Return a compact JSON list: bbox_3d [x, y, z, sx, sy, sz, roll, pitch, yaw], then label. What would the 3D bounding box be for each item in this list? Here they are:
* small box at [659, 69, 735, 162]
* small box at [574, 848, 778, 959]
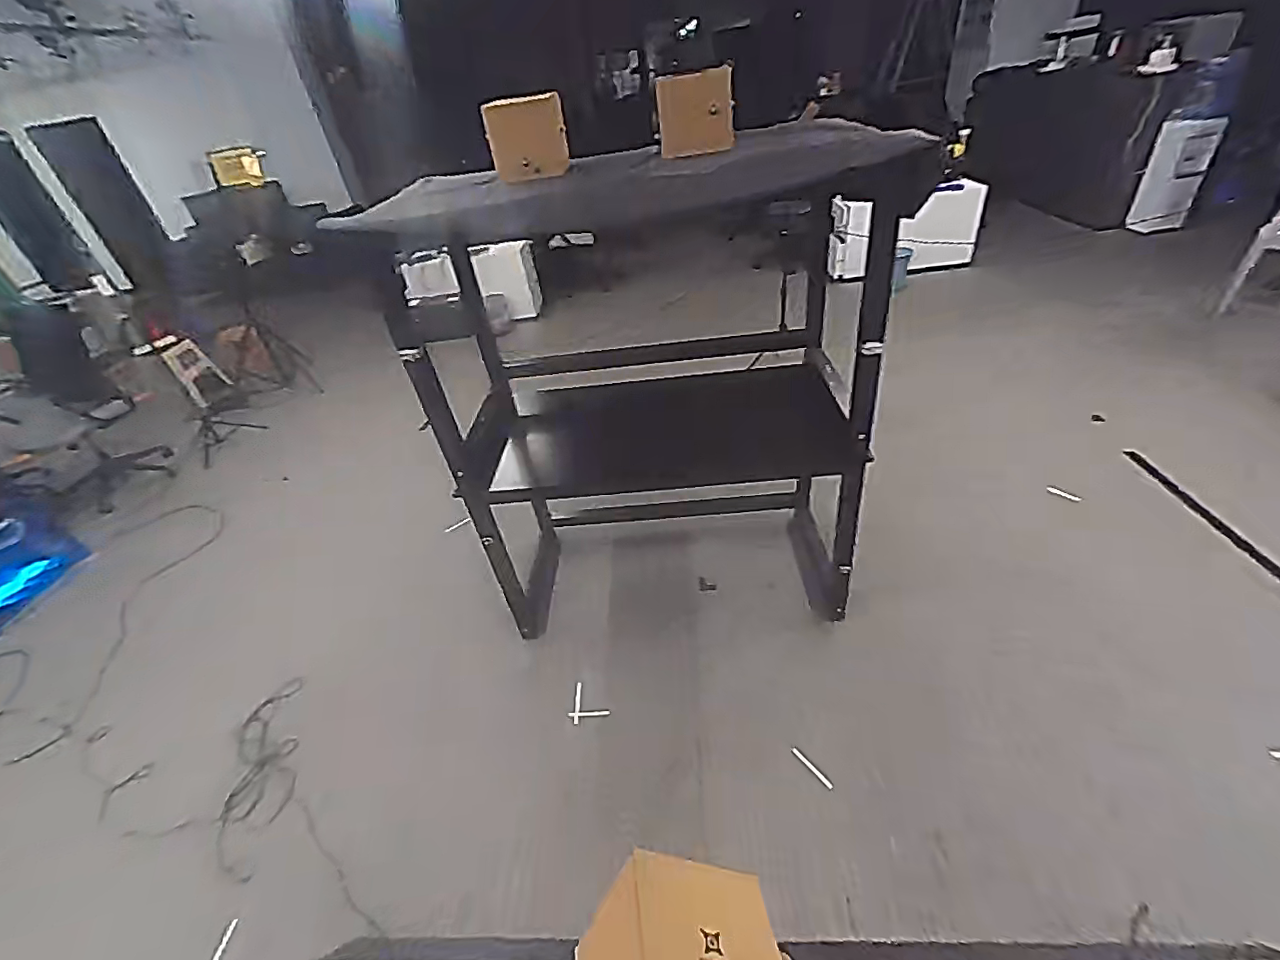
[{"bbox_3d":[0.145,-0.911,1.351,0.179,0.176,0.168,-4,36,7],"label":"small box"},{"bbox_3d":[0.035,0.538,0.562,0.168,0.176,0.179,21,15,-14],"label":"small box"}]
